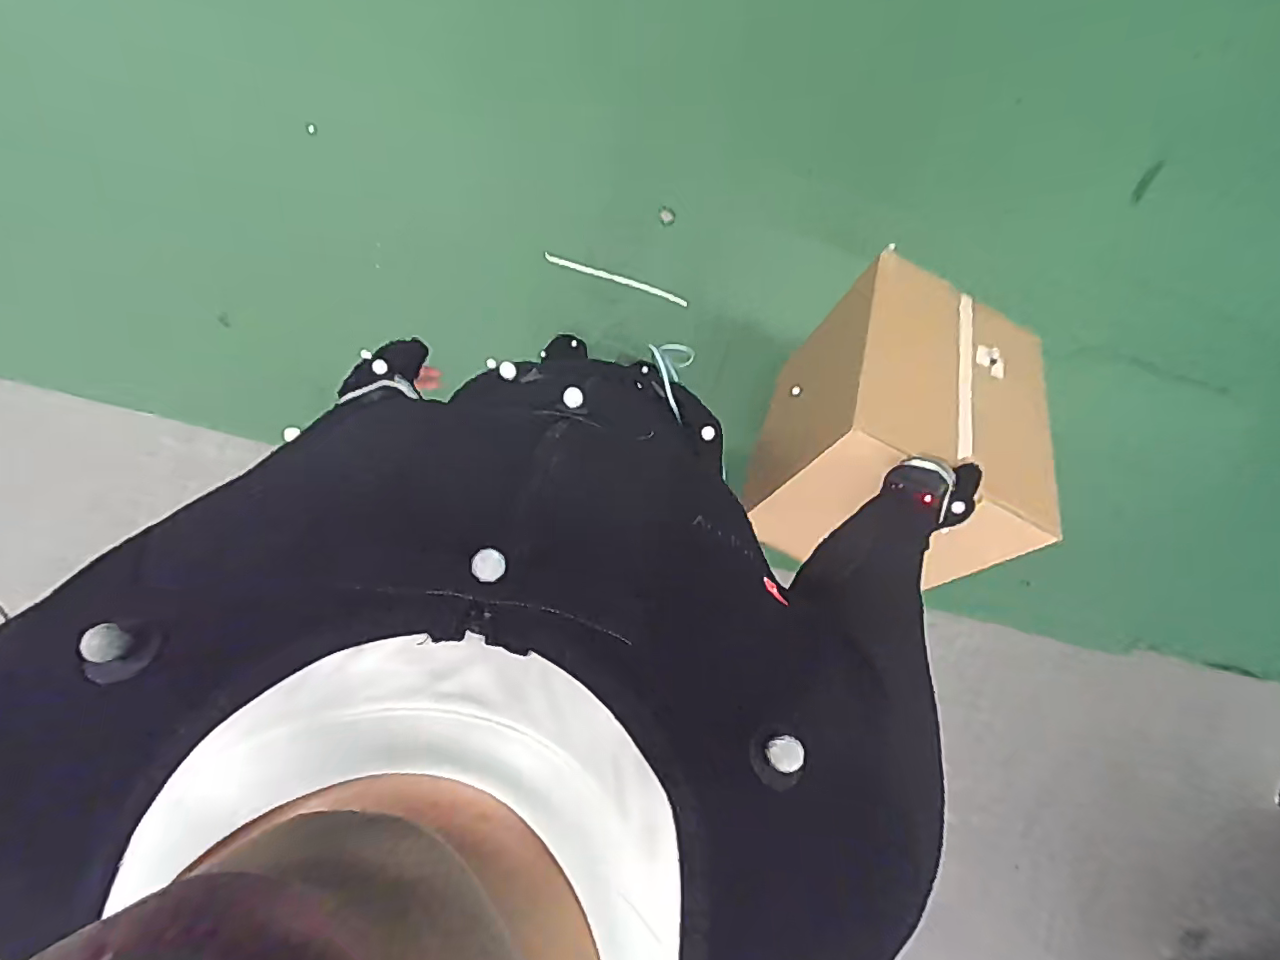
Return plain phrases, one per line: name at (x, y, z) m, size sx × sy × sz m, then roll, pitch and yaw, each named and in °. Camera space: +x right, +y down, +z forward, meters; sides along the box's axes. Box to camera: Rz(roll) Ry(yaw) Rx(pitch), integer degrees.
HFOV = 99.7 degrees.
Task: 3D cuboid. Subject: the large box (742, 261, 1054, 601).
large box at (0.407, -0.070, 0.908) m, size 0.320 × 0.408 × 0.320 m, roll 28°, pitch 146°, yaw -6°
